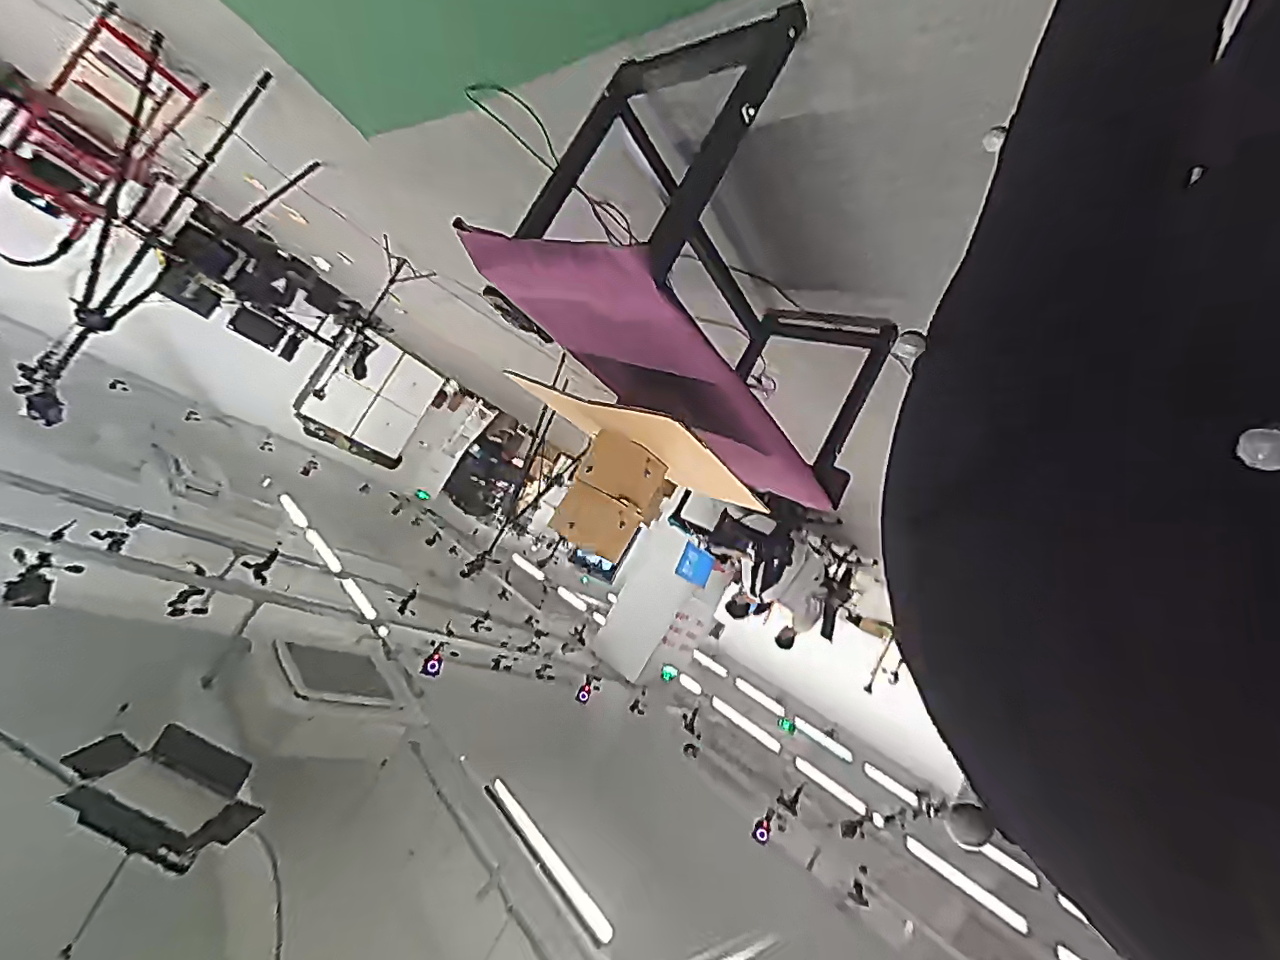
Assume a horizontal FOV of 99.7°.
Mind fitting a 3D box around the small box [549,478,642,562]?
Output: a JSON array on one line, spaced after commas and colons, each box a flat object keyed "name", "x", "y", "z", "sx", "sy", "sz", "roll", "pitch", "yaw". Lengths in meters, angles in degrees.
[{"name": "small box", "x": -0.127, "y": 0.111, "z": 1.594, "sx": 0.179, "sy": 0.176, "sz": 0.168, "roll": 24, "pitch": 172, "yaw": 42}]

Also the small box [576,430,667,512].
[{"name": "small box", "x": -0.051, "y": -0.032, "z": 1.613, "sx": 0.179, "sy": 0.176, "sz": 0.168, "roll": 25, "pitch": 174, "yaw": 39}]
